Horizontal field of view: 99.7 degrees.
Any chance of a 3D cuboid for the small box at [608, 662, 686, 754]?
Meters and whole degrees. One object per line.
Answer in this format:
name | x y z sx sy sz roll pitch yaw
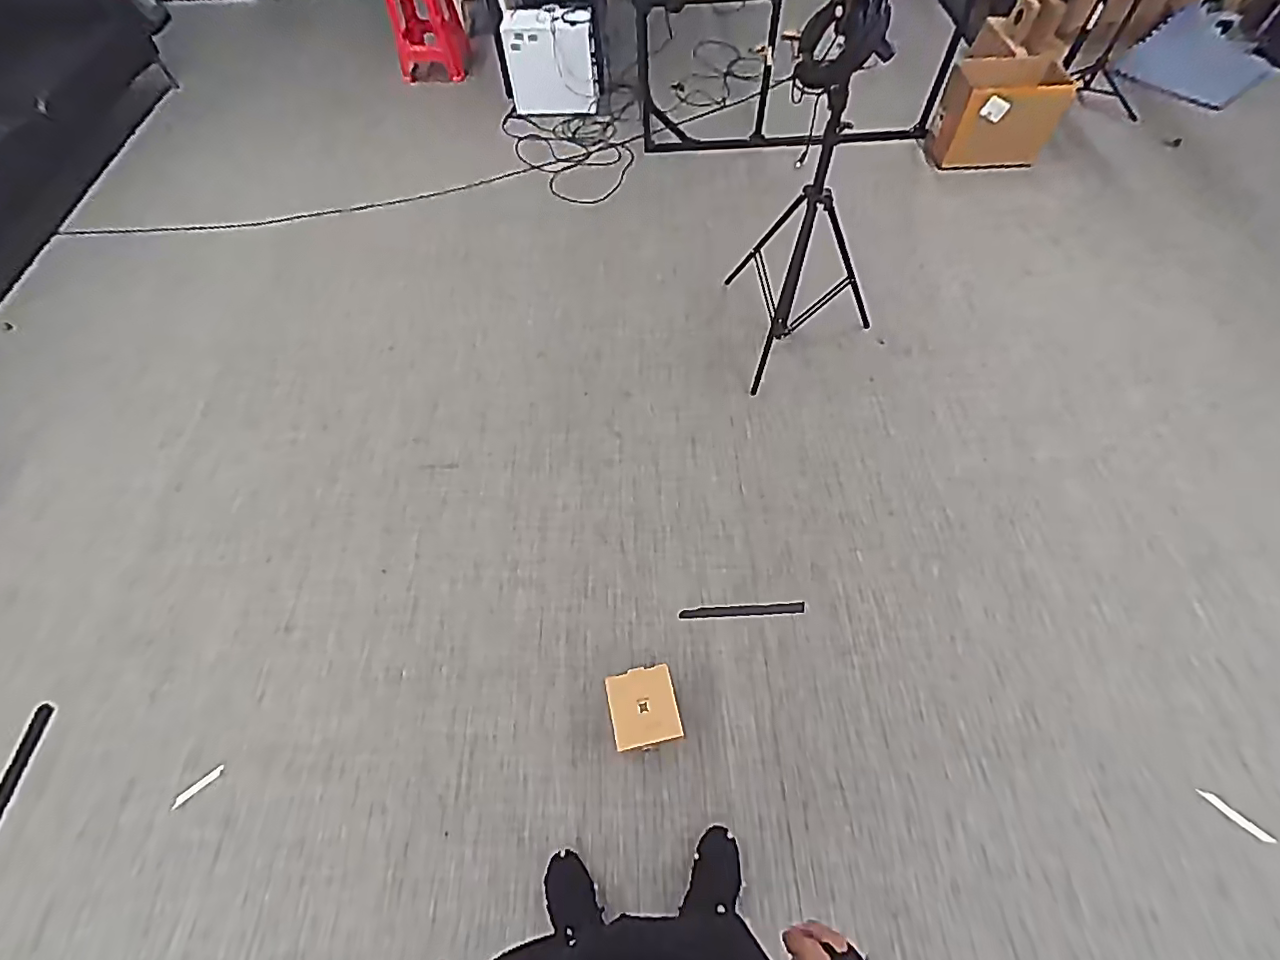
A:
small box | 0.017 0.590 1.392 0.168 0.176 0.179 -12 60 -3
